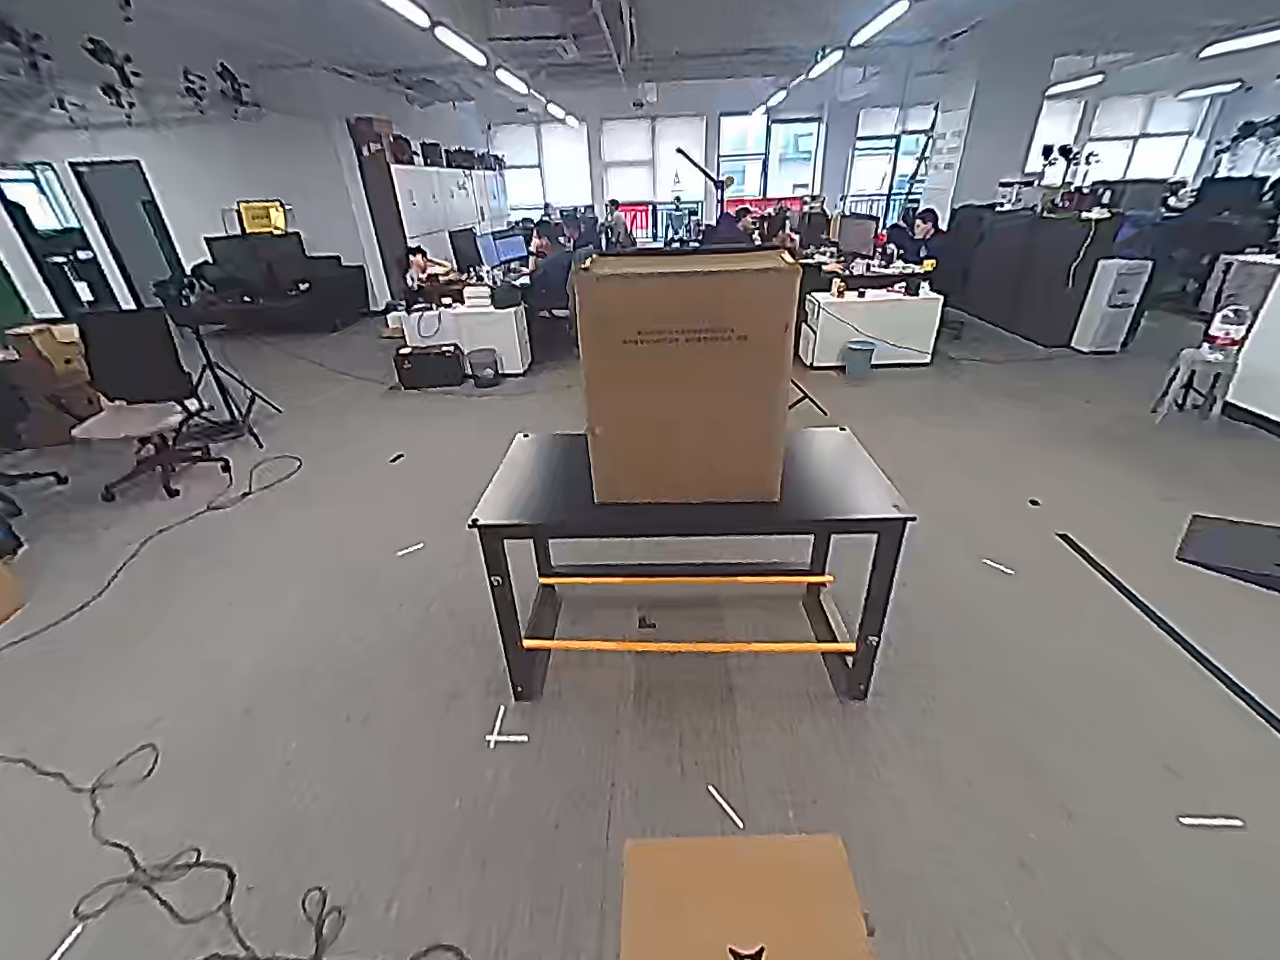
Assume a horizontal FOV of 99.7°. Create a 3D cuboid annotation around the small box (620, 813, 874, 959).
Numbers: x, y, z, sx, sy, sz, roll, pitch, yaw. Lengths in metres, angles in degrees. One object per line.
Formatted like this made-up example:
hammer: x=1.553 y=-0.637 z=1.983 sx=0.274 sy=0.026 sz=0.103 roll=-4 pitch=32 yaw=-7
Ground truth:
small box: x=0.072 y=0.374 z=0.391 sx=0.168 sy=0.176 sz=0.179 roll=-4 pitch=34 yaw=3
